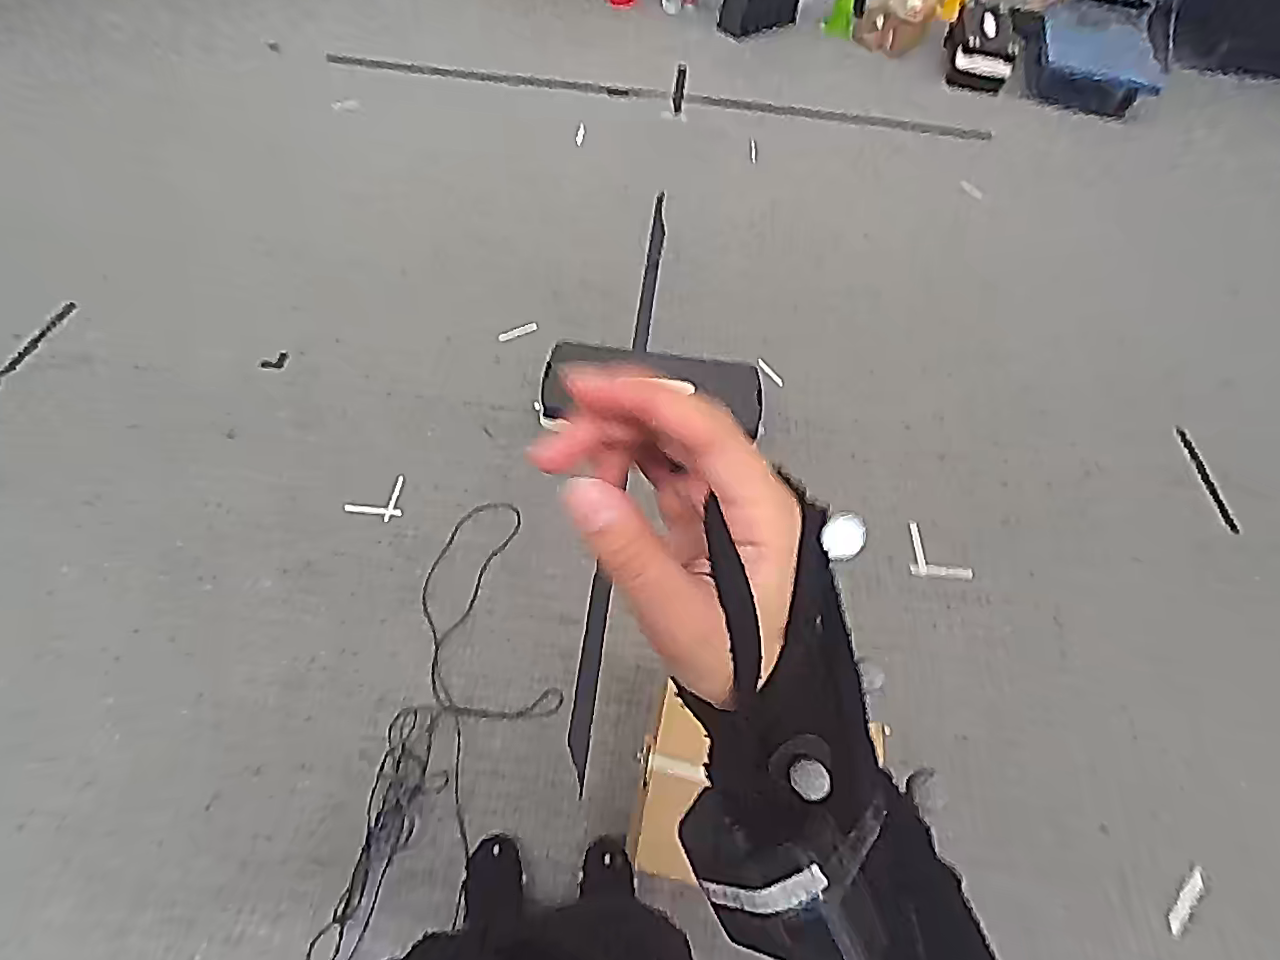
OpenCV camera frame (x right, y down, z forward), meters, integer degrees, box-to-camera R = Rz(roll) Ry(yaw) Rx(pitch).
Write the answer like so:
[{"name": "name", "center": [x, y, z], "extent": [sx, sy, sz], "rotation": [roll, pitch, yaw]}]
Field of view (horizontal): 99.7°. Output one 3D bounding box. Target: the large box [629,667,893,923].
[{"name": "large box", "center": [0.211, 0.588, 1.039], "extent": [0.408, 0.320, 0.320], "rotation": [13, 60, 2]}]
